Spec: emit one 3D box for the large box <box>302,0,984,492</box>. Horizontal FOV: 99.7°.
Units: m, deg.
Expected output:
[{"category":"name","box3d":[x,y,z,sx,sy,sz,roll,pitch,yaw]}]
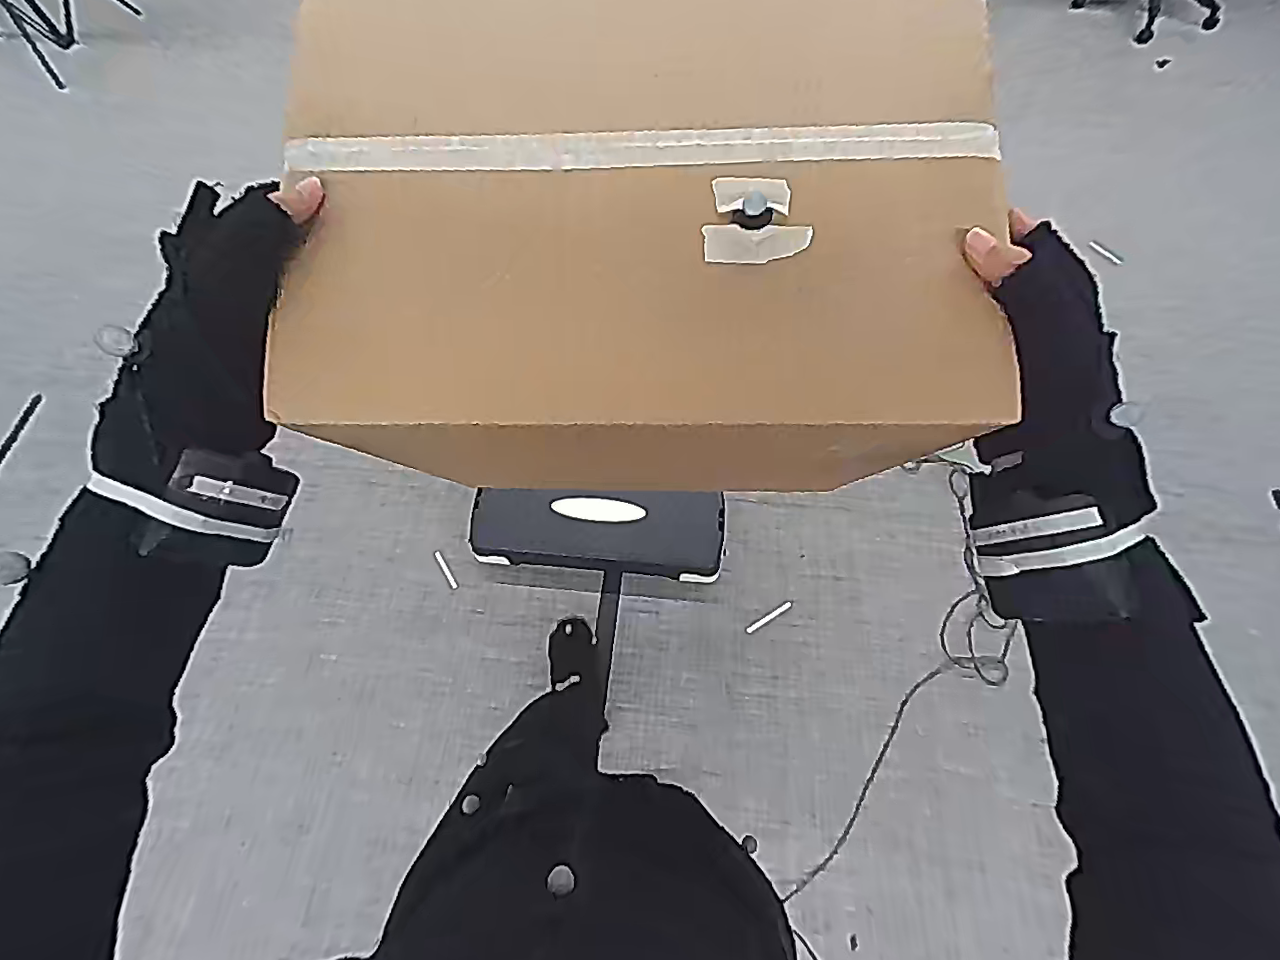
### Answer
[{"category":"large box","box3d":[0.001,-0.164,0.481,0.408,0.320,0.320,0,82,2]}]
